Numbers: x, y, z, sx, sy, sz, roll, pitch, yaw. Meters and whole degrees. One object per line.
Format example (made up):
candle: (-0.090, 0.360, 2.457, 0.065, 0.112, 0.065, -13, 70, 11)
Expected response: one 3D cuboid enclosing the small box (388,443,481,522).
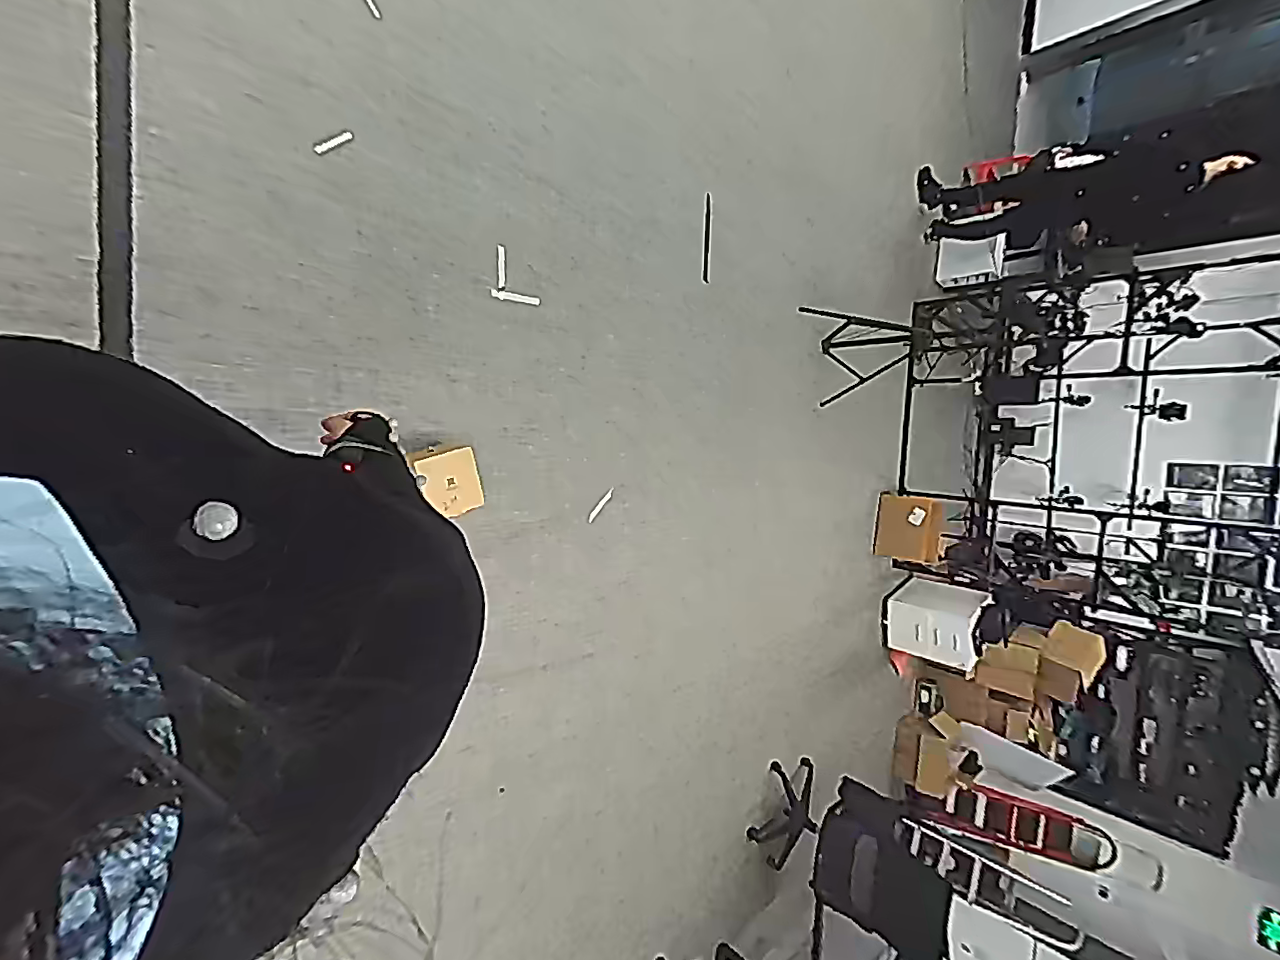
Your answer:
small box: (-0.571, 0.001, 1.495, 0.168, 0.176, 0.179, -23, 112, -41)
